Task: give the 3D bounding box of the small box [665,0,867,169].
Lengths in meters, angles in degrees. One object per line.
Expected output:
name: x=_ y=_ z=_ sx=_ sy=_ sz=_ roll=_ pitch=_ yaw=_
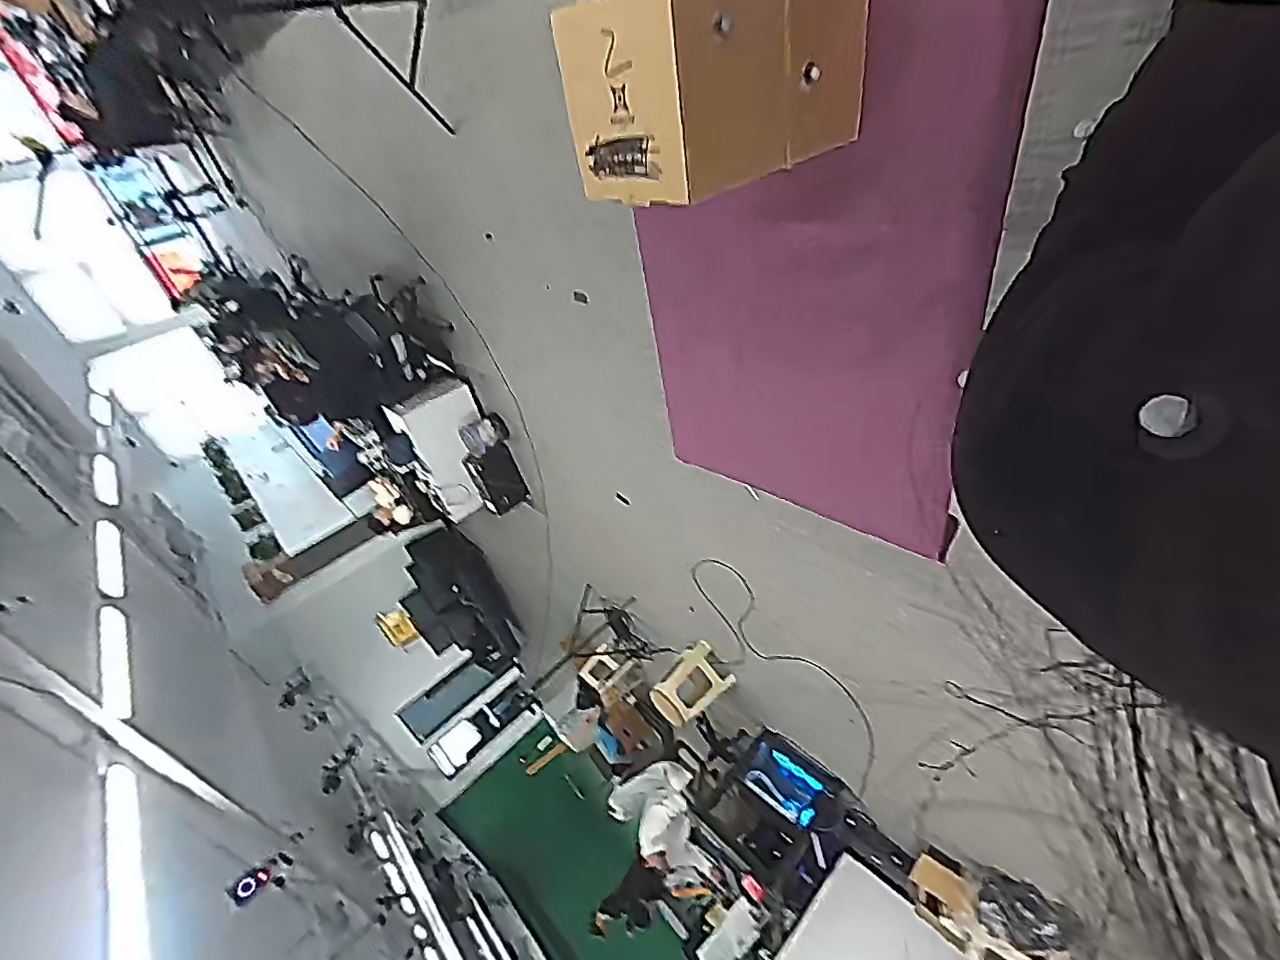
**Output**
small box: x=0.156 y=-0.498 z=0.658 sx=0.168 sy=0.176 sz=0.179 roll=26 pitch=140 yaw=40
